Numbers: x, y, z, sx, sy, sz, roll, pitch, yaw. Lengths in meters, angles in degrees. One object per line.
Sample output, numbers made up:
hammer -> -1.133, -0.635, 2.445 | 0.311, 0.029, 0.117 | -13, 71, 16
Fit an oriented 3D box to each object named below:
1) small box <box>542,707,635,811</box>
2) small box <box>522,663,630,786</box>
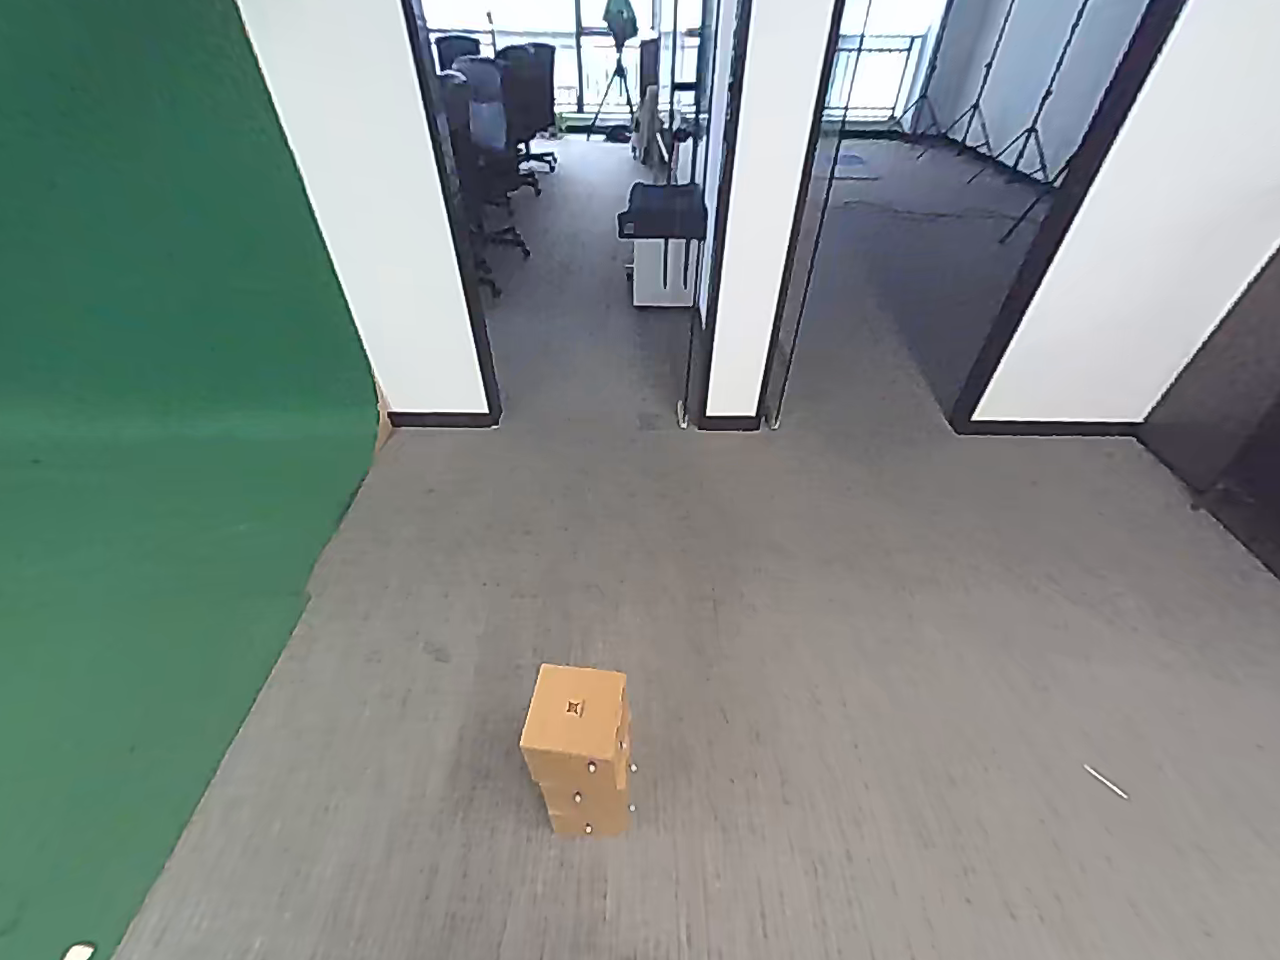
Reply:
small box -> -0.106, 0.611, 1.193 | 0.179, 0.176, 0.168 | 3, 43, 3
small box -> -0.118, 0.491, 1.083 | 0.179, 0.176, 0.168 | 5, 43, 5
